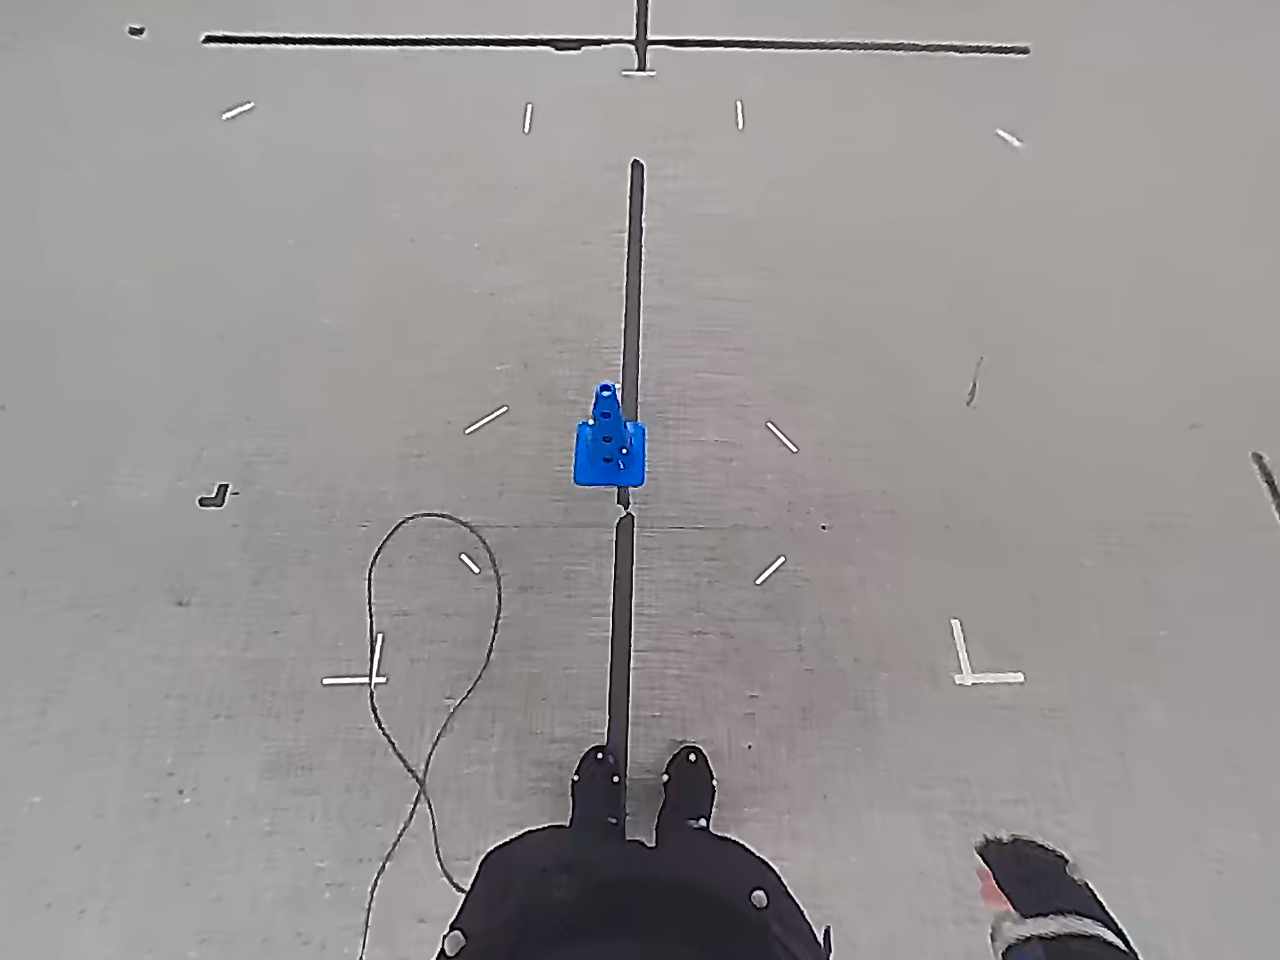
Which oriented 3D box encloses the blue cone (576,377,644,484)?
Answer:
[{"bbox_3d":[-0.084,-0.137,1.360,0.193,0.380,0.192,0,69,0],"label":"blue cone"}]
